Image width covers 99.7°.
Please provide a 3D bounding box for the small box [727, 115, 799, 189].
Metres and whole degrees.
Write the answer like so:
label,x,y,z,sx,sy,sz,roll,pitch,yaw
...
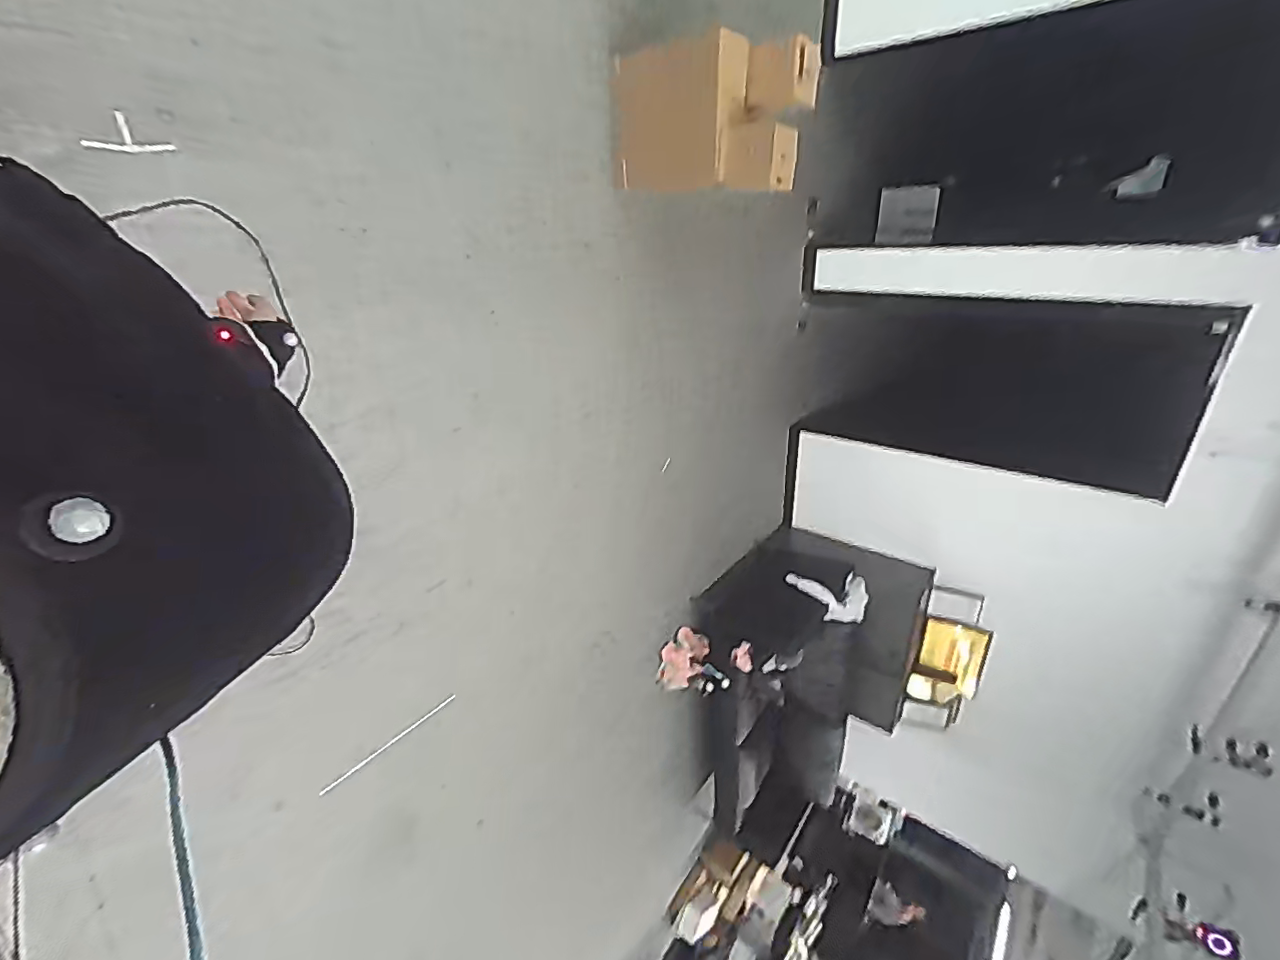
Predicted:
label,x,y,z,sx,sy,sz,roll,pitch,yaw
small box,0.399,-1.066,1.768,0.168,0.176,0.179,-24,122,-44
